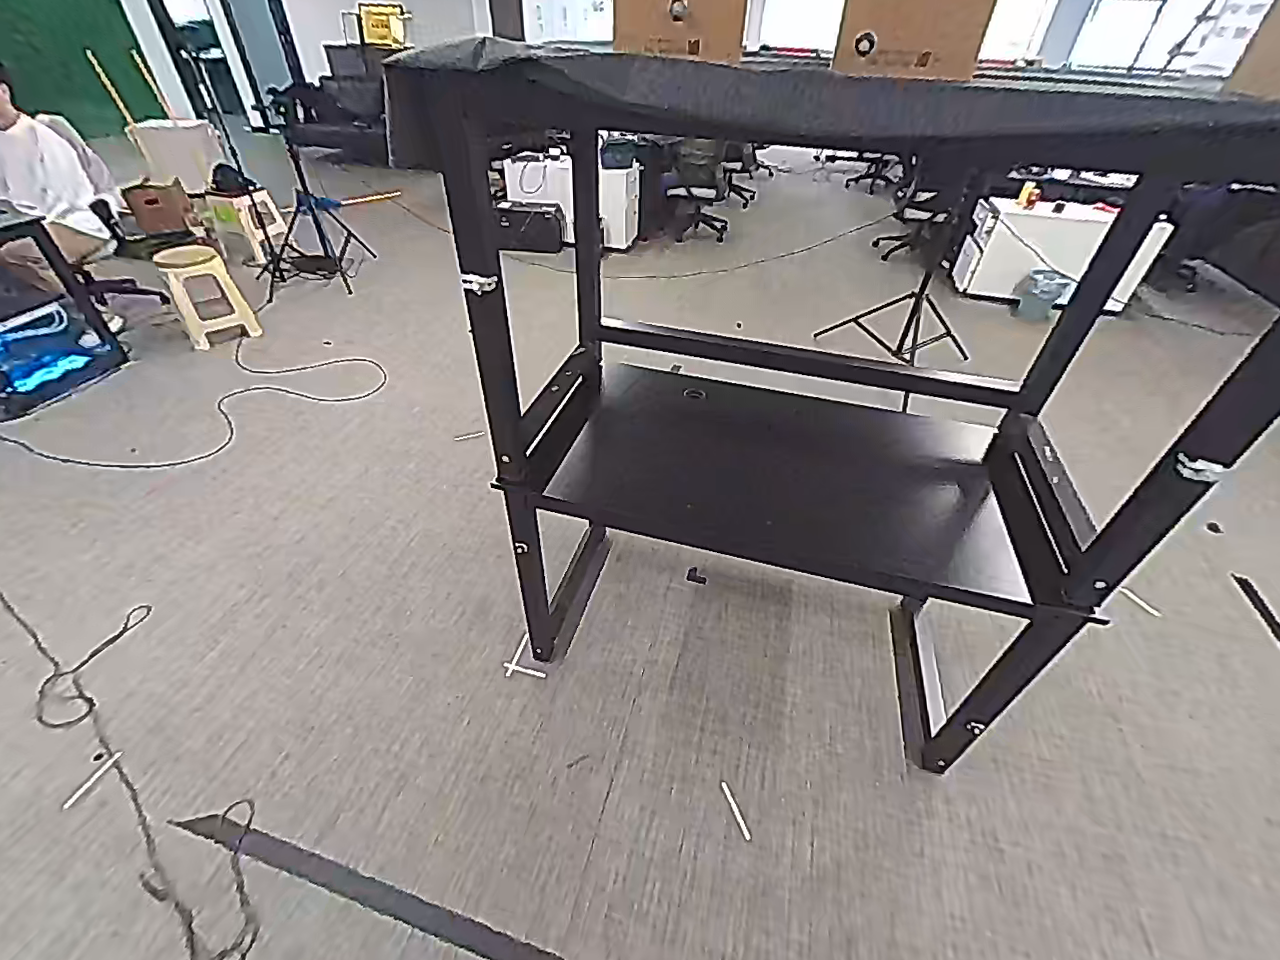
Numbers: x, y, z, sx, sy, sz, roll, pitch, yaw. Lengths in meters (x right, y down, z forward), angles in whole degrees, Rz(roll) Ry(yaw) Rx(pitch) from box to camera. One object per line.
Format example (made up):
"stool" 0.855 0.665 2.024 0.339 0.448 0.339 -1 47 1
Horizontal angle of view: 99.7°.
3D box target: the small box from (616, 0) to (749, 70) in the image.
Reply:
"small box" 0.061 -0.650 0.708 0.168 0.176 0.179 6 39 5

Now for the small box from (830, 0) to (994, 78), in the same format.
"small box" 0.341 -0.608 0.672 0.168 0.176 0.179 11 39 10
